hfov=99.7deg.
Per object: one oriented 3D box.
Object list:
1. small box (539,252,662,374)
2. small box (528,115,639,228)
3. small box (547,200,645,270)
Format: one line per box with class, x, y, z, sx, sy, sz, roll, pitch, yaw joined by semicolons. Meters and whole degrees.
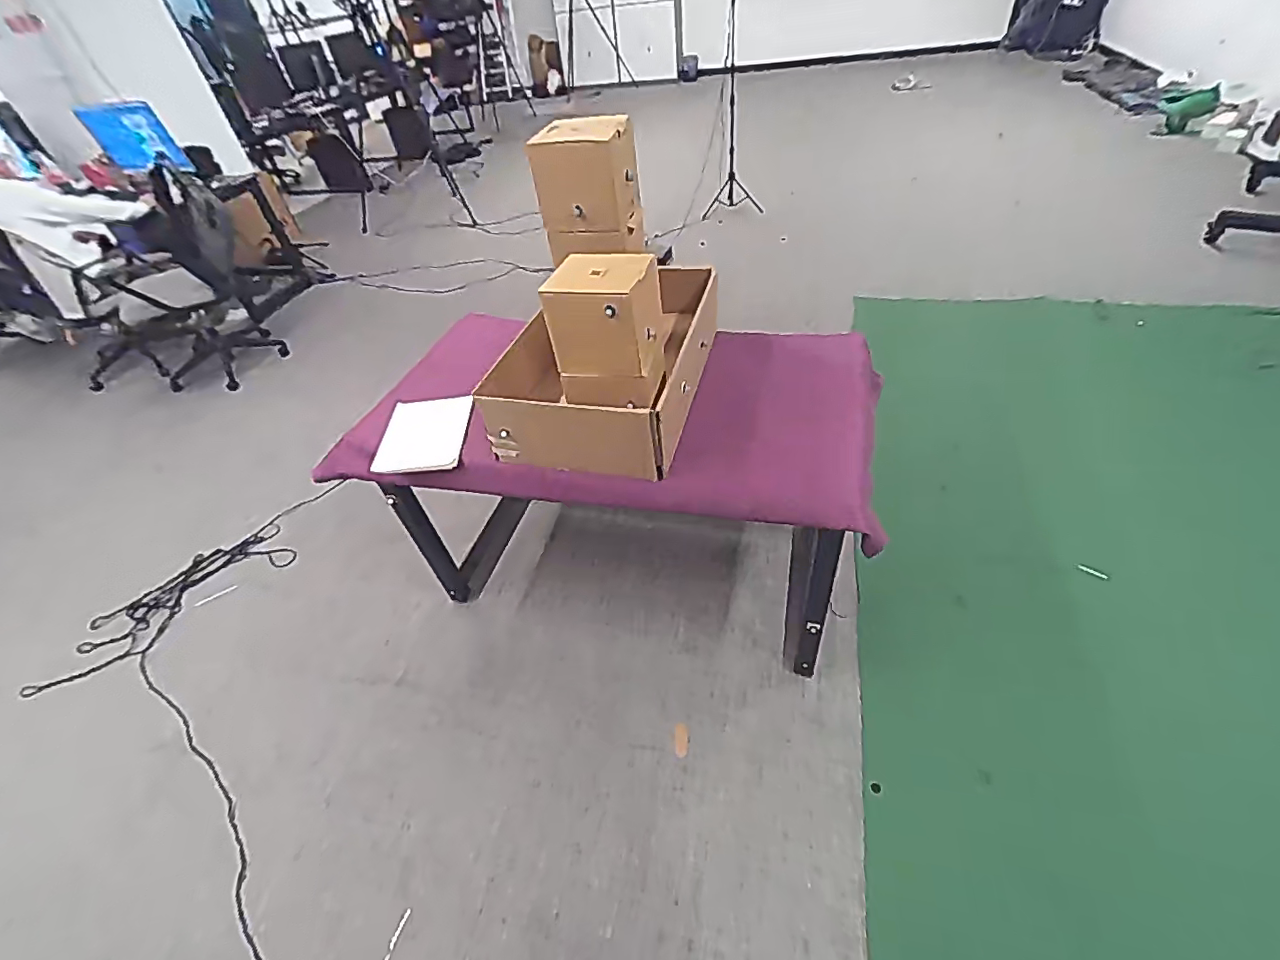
small box;-0.064;-0.316;1.023;0.179;0.176;0.168;8;45;16
small box;-0.107;-0.642;1.132;0.179;0.176;0.168;8;47;14
small box;-0.089;-0.525;1.245;0.179;0.176;0.168;5;47;14
